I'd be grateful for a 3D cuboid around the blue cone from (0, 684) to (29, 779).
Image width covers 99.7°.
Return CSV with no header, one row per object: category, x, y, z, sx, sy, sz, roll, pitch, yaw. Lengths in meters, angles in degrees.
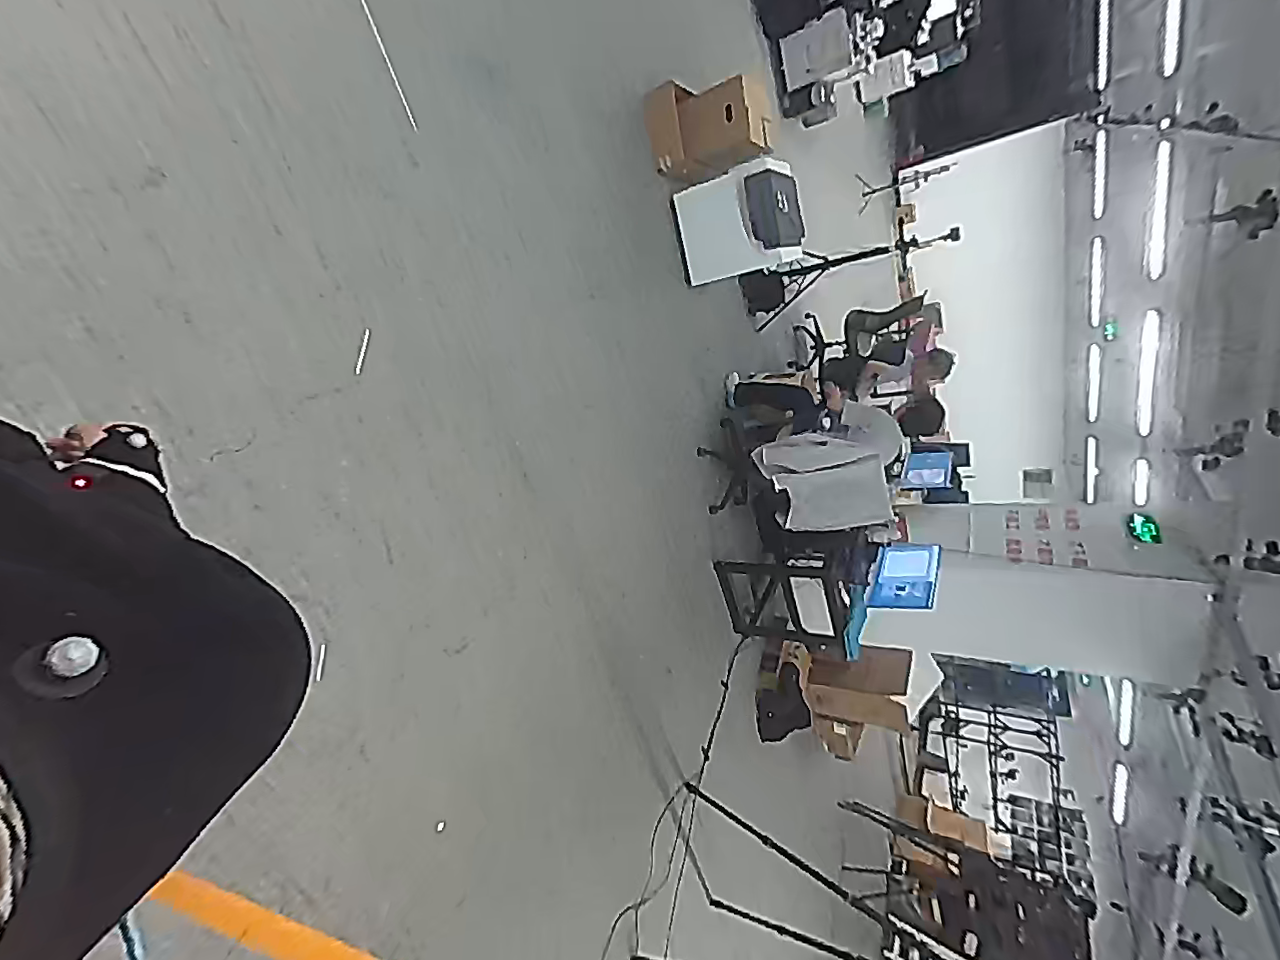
blue cone,-1.068,0.443,0.840,0.193,0.380,0.192,33,61,-53
